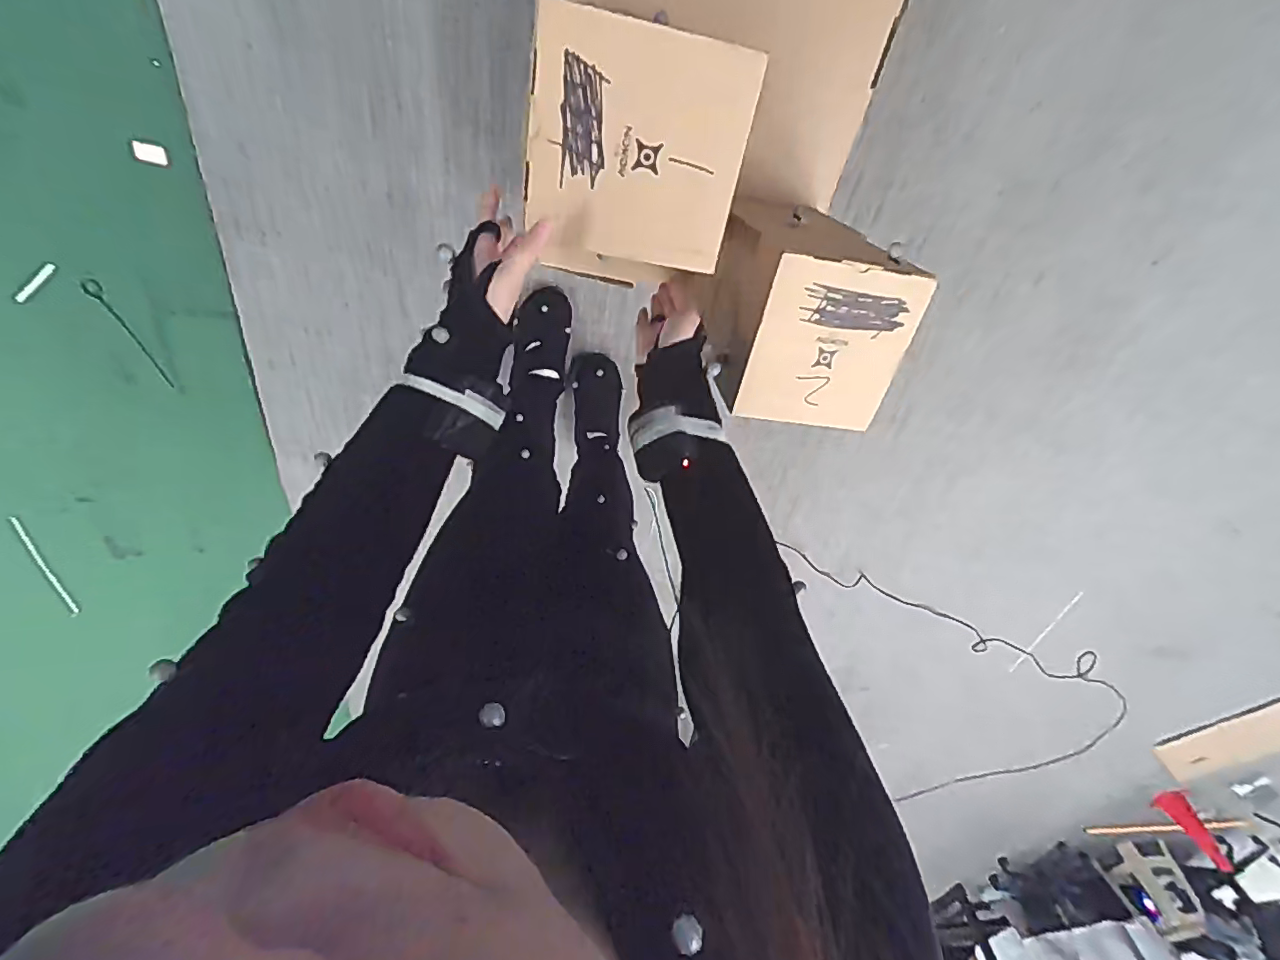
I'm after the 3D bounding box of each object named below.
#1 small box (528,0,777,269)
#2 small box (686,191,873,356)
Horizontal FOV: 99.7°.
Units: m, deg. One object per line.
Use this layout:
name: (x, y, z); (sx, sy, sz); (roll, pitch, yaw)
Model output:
small box: (-0.001, -0.313, 0.499); (0.179, 0.176, 0.168); (6, 126, -9)
small box: (0.176, -0.289, 0.745); (0.179, 0.176, 0.168); (5, 125, -10)
